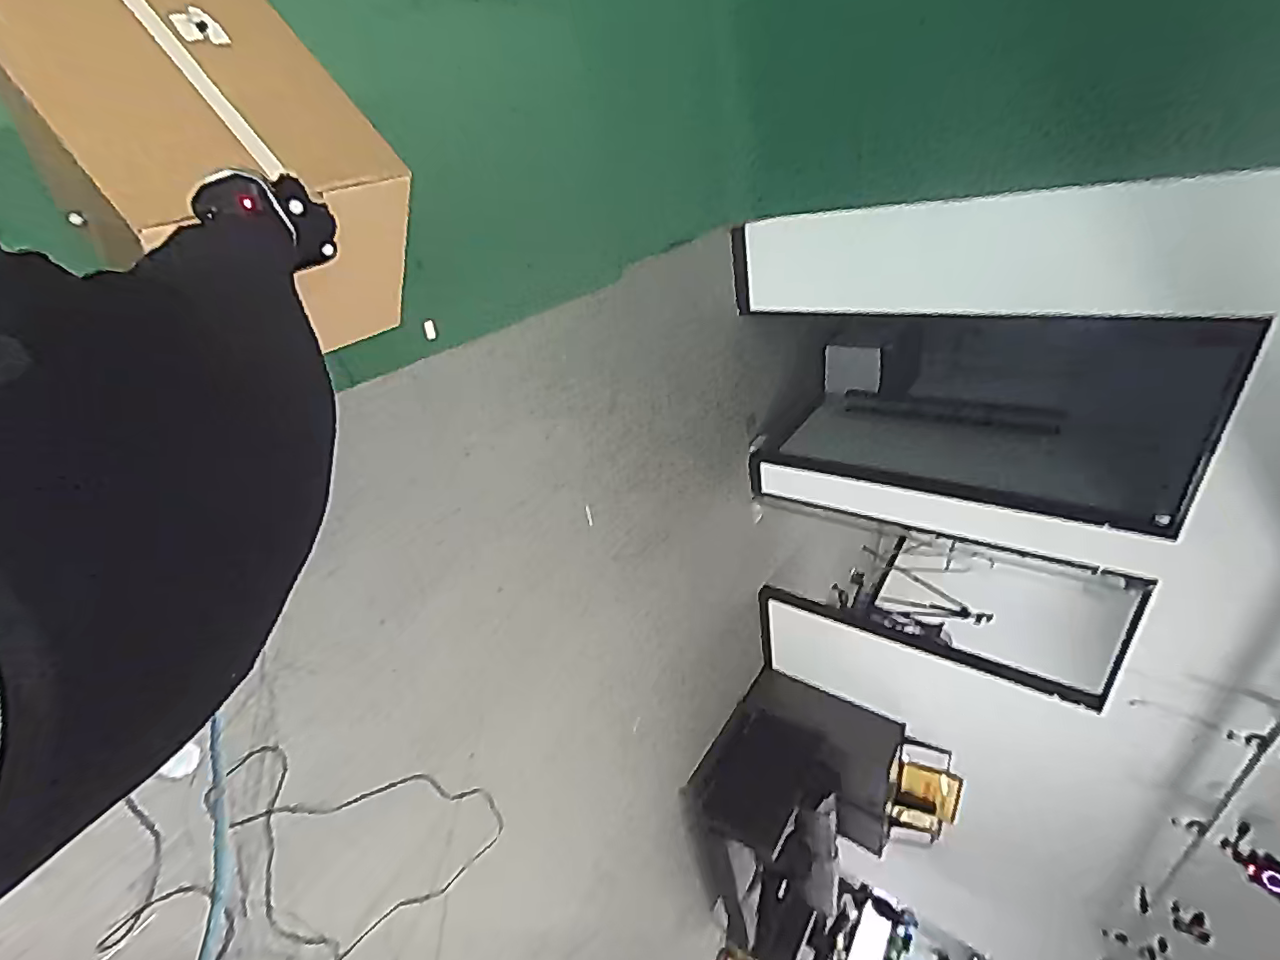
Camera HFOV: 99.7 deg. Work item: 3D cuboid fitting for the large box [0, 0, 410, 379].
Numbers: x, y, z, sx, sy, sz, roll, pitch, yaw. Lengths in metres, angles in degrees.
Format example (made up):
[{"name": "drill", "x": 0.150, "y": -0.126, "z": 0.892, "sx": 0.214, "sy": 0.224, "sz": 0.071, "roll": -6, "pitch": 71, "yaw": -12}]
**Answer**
[{"name": "large box", "x": -0.592, "y": -0.428, "z": 0.777, "sx": 0.320, "sy": 0.320, "sz": 0.408, "roll": -38, "pitch": 86, "yaw": -35}]
